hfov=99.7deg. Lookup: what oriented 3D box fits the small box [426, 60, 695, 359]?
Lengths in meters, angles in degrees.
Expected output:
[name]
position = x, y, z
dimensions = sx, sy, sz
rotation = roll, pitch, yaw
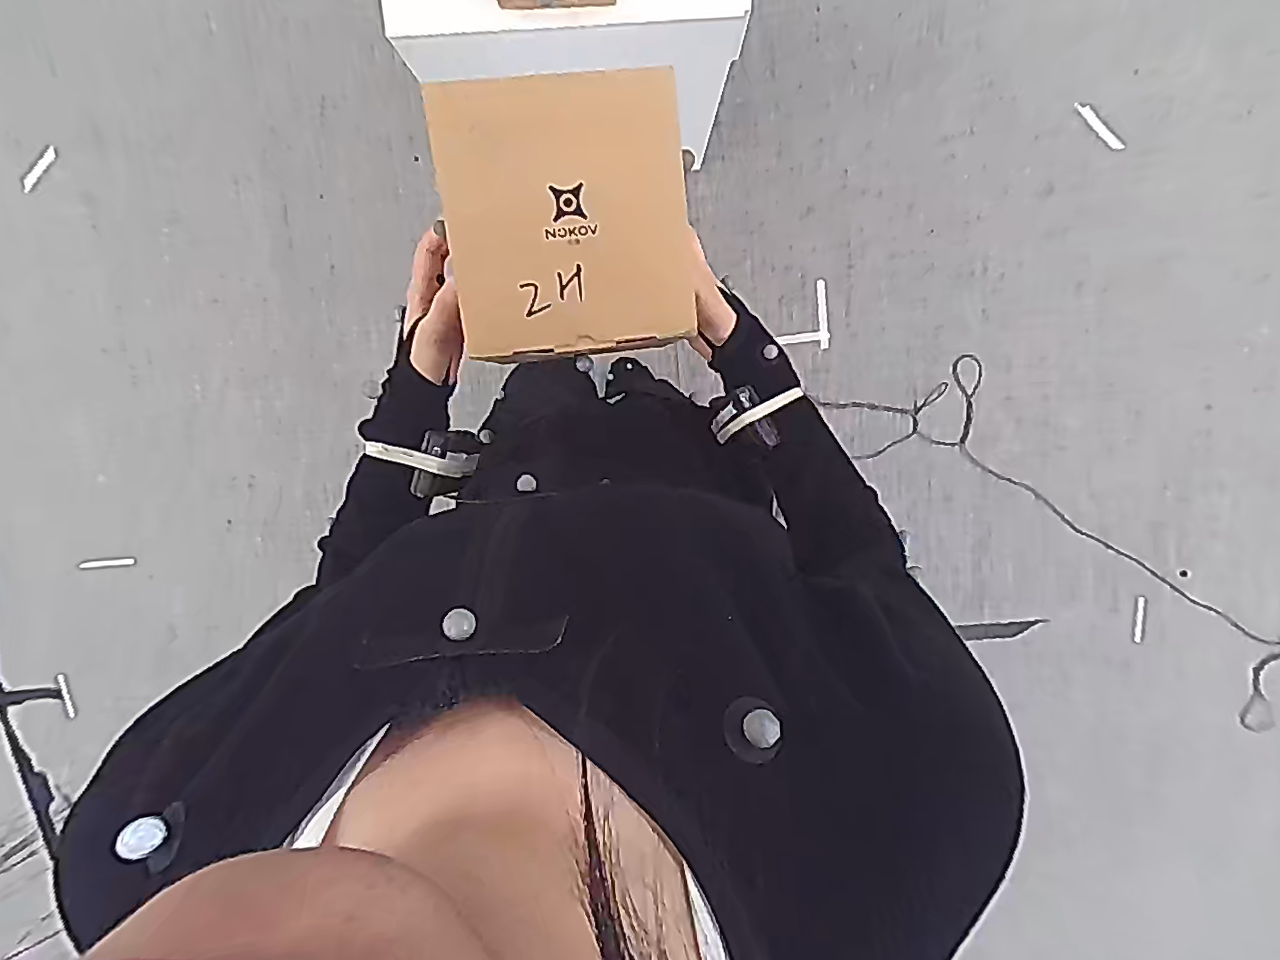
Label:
[small box]
position = -0.058, -0.199, 0.446
dimensions = 0.168, 0.176, 0.179
rotation = -8, 102, -4
